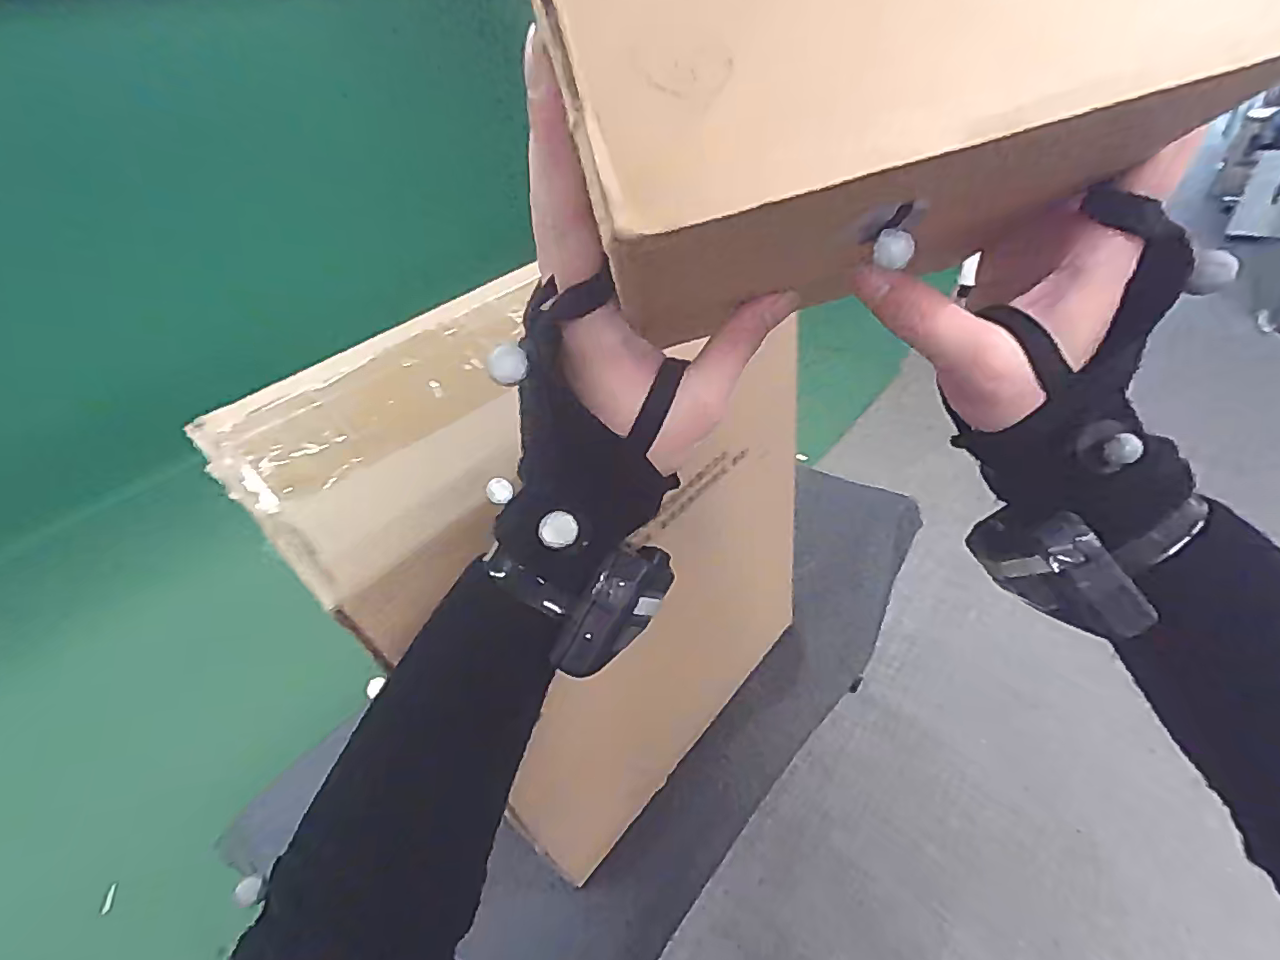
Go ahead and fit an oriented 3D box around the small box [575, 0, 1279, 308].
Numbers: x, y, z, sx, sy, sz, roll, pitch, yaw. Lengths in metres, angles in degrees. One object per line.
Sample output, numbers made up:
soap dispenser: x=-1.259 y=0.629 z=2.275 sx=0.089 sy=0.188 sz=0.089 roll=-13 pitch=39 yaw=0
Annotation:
small box: x=0.068 y=-0.175 z=0.189 sx=0.179 sy=0.168 sz=0.176 roll=-14 pitch=4 yaw=-1
